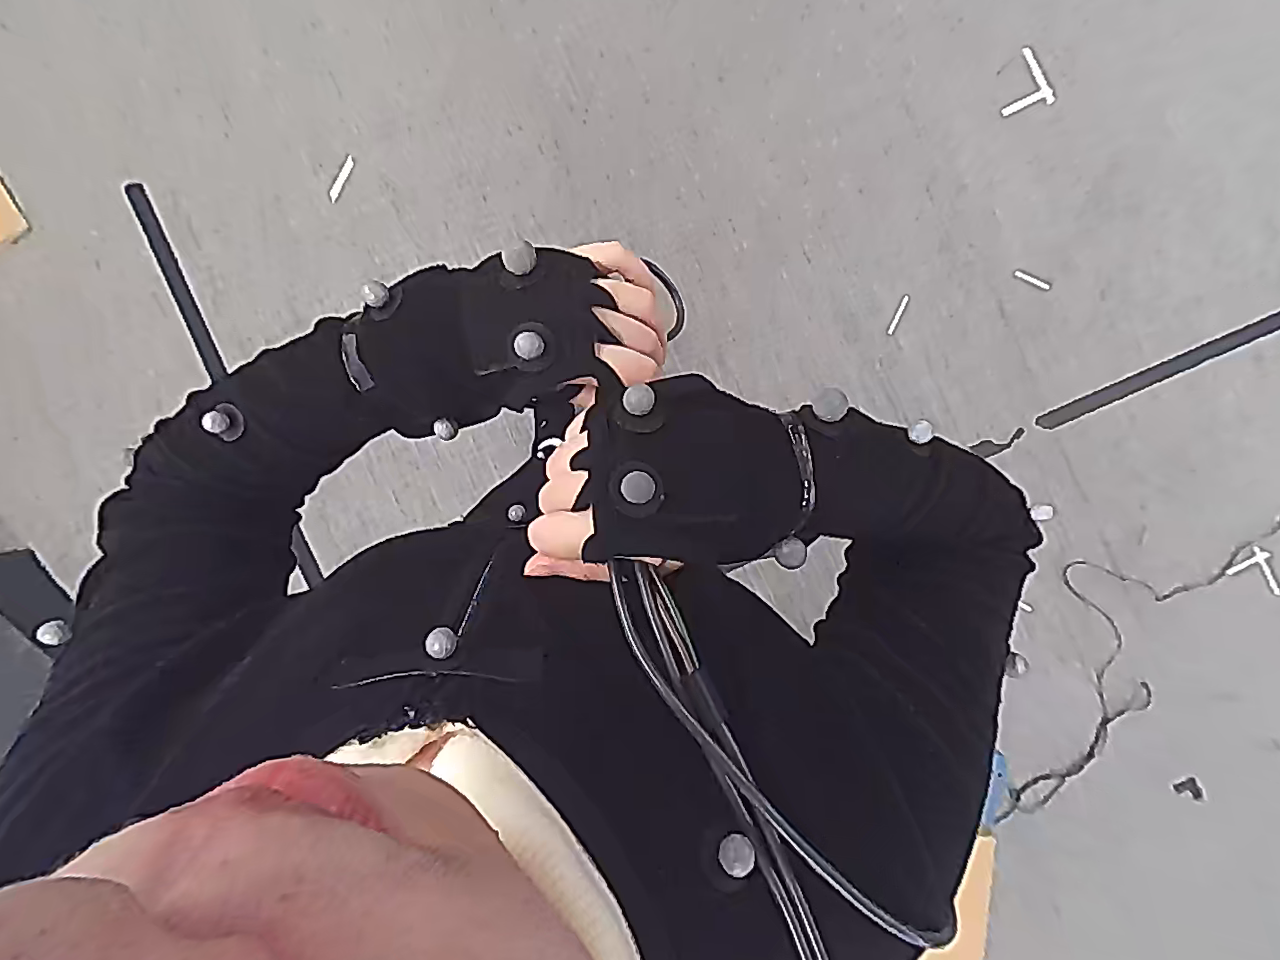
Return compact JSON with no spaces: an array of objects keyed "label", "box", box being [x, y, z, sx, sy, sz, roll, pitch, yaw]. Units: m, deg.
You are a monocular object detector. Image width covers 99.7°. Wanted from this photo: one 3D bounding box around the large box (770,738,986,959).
[{"label":"large box","box":[0.491,0.840,1.184,0.320,0.320,0.408,6,91,-1]}]
